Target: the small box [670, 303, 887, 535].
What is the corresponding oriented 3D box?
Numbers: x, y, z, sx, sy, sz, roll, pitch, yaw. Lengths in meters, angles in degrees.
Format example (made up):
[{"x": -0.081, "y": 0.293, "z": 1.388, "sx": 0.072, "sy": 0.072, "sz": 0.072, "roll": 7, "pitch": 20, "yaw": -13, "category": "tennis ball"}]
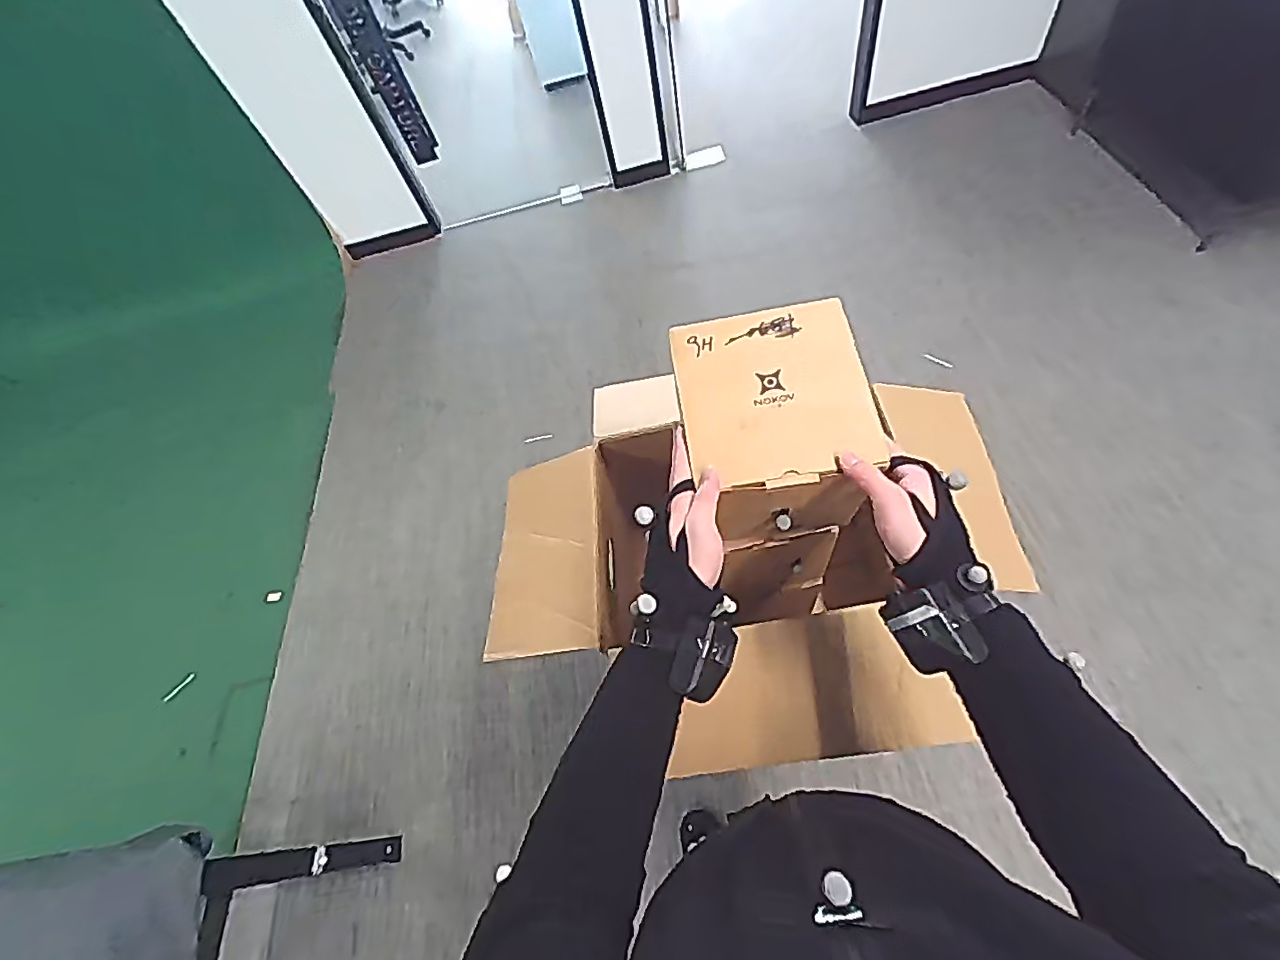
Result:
[{"x": 0.127, "y": -0.047, "z": 0.556, "sx": 0.168, "sy": 0.176, "sz": 0.179, "roll": -9, "pitch": 70, "yaw": 4, "category": "small box"}]
